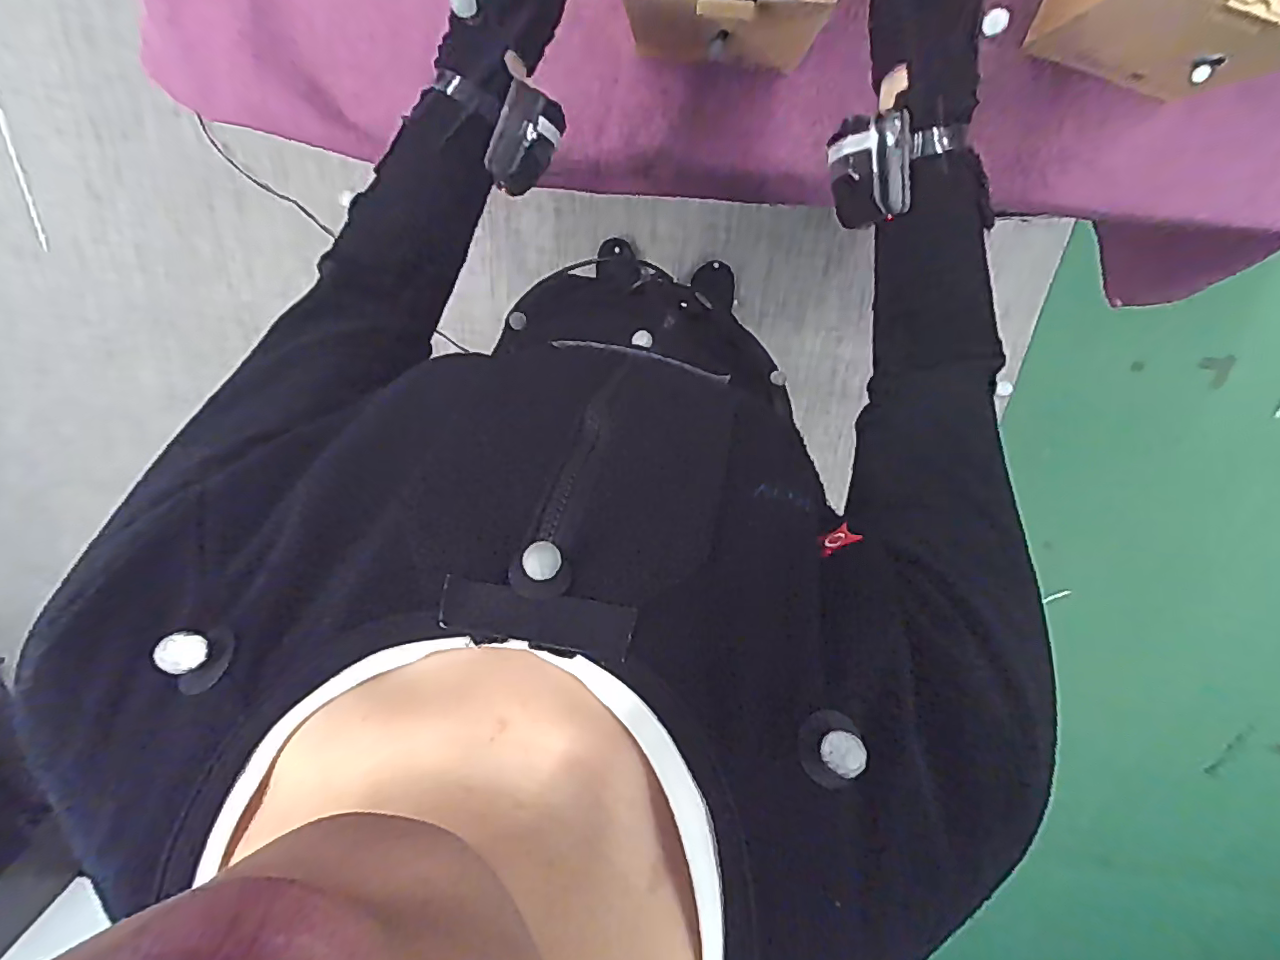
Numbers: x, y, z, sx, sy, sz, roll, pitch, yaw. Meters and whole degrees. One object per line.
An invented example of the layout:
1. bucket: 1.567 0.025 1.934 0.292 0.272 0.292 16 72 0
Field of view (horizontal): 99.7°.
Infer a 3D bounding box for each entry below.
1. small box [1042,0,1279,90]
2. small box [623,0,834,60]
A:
1. small box: 0.464 -0.438 0.417 0.168 0.176 0.179 16 114 -3
2. small box: 0.079 -0.470 0.437 0.168 0.176 0.179 6 115 2
